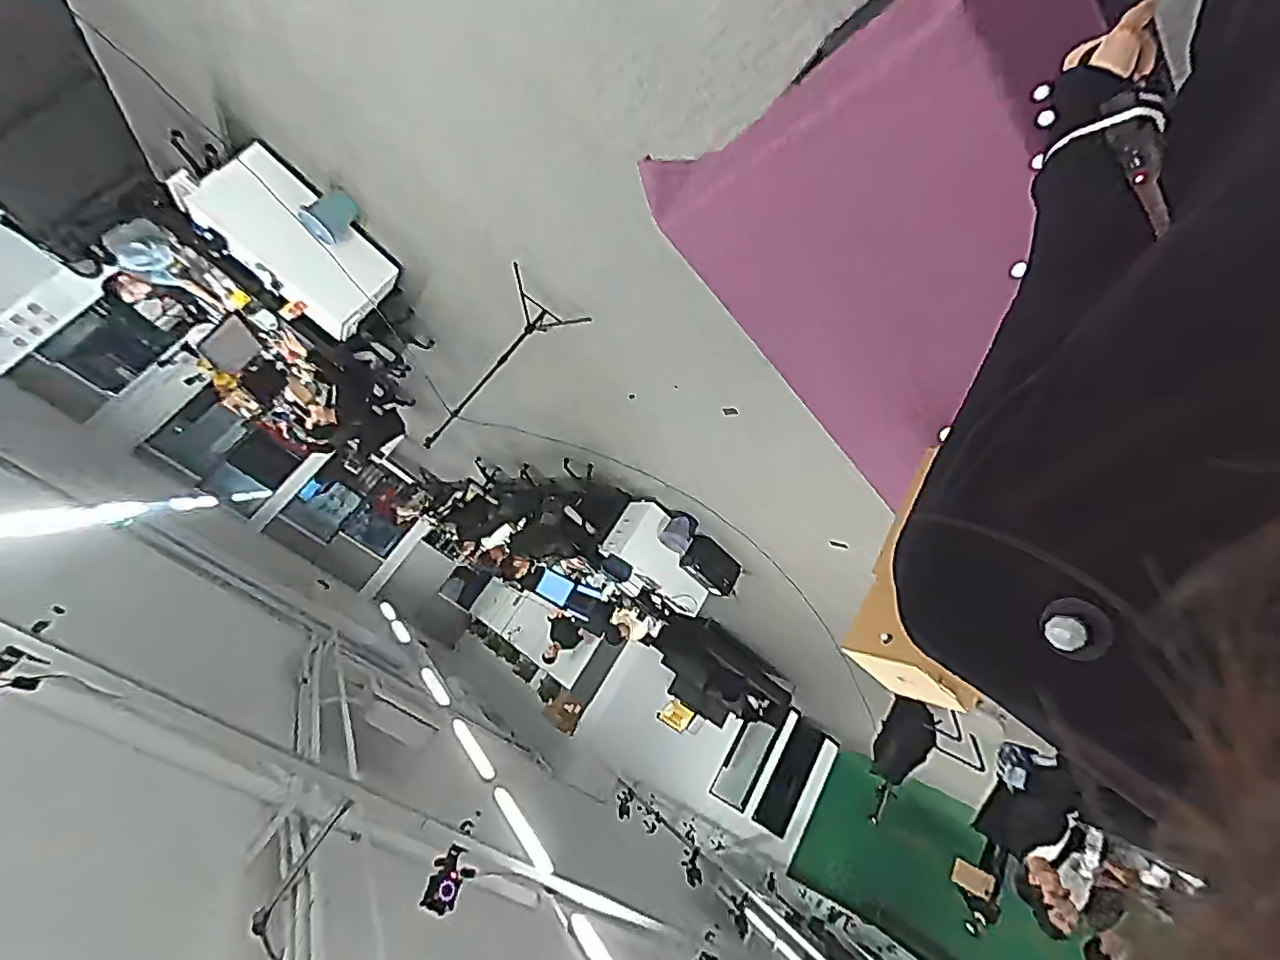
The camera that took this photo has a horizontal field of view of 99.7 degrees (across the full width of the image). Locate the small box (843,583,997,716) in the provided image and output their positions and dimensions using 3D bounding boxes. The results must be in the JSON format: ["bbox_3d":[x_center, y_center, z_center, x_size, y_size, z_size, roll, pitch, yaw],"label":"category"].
[{"bbox_3d":[0.534,0.312,1.035,0.168,0.176,0.179,40,159,-16],"label":"small box"}]

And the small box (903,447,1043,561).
[{"bbox_3d":[0.698,0.046,1.133,0.168,0.176,0.179,42,159,-23],"label":"small box"}]

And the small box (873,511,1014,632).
[{"bbox_3d":[0.612,0.175,1.080,0.168,0.176,0.179,42,160,-19],"label":"small box"}]
